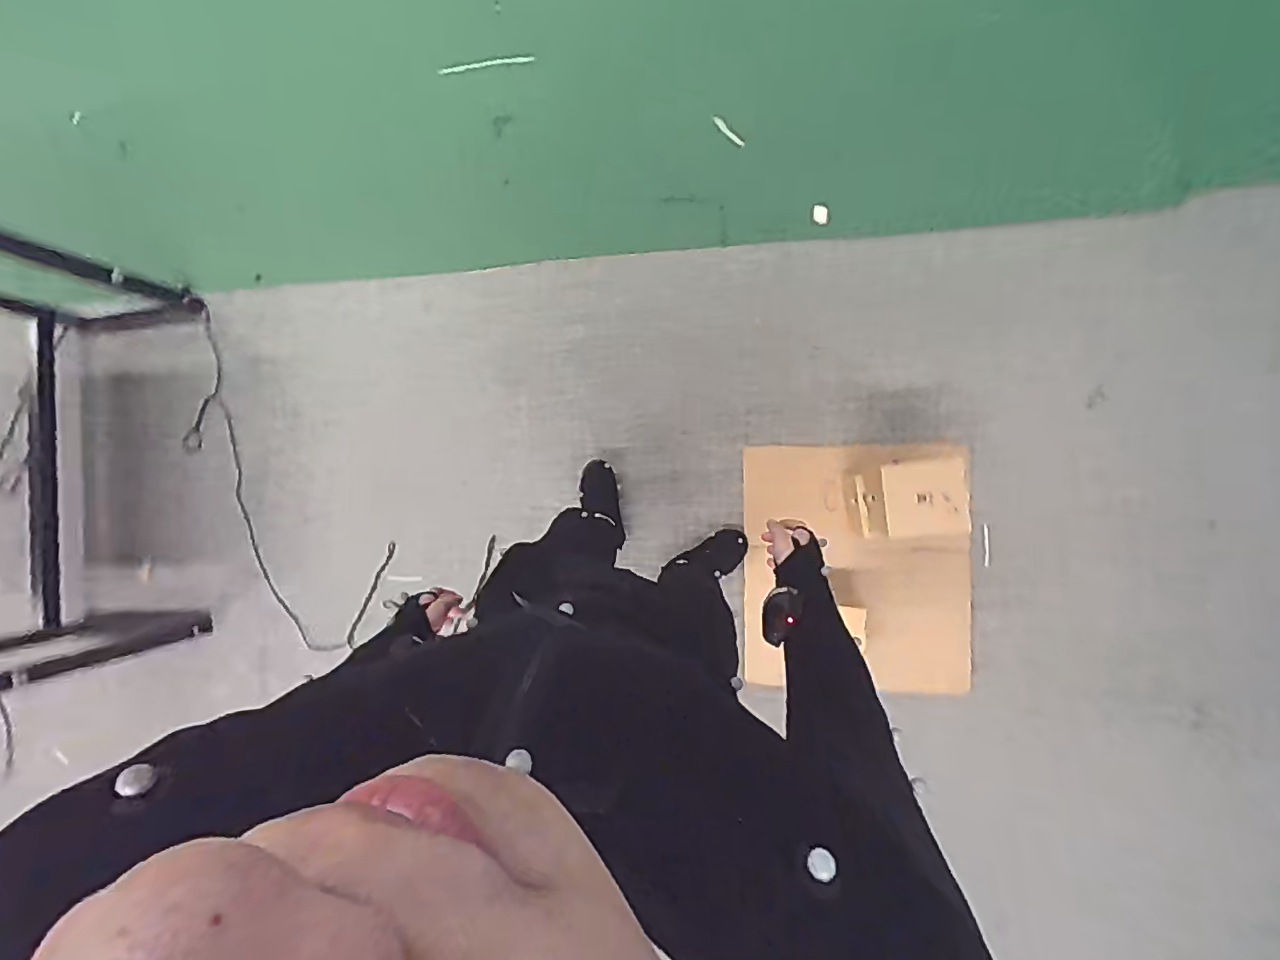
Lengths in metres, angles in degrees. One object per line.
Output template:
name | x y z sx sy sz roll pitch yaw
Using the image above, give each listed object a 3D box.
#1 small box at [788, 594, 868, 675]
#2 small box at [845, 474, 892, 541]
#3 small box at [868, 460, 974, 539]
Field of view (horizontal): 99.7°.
small box | 0.497 0.406 1.450 0.179 0.176 0.168 3 90 9
small box | 0.656 0.064 1.425 0.179 0.176 0.168 -6 89 9
small box | 0.643 0.045 1.260 0.179 0.176 0.168 -5 90 9
